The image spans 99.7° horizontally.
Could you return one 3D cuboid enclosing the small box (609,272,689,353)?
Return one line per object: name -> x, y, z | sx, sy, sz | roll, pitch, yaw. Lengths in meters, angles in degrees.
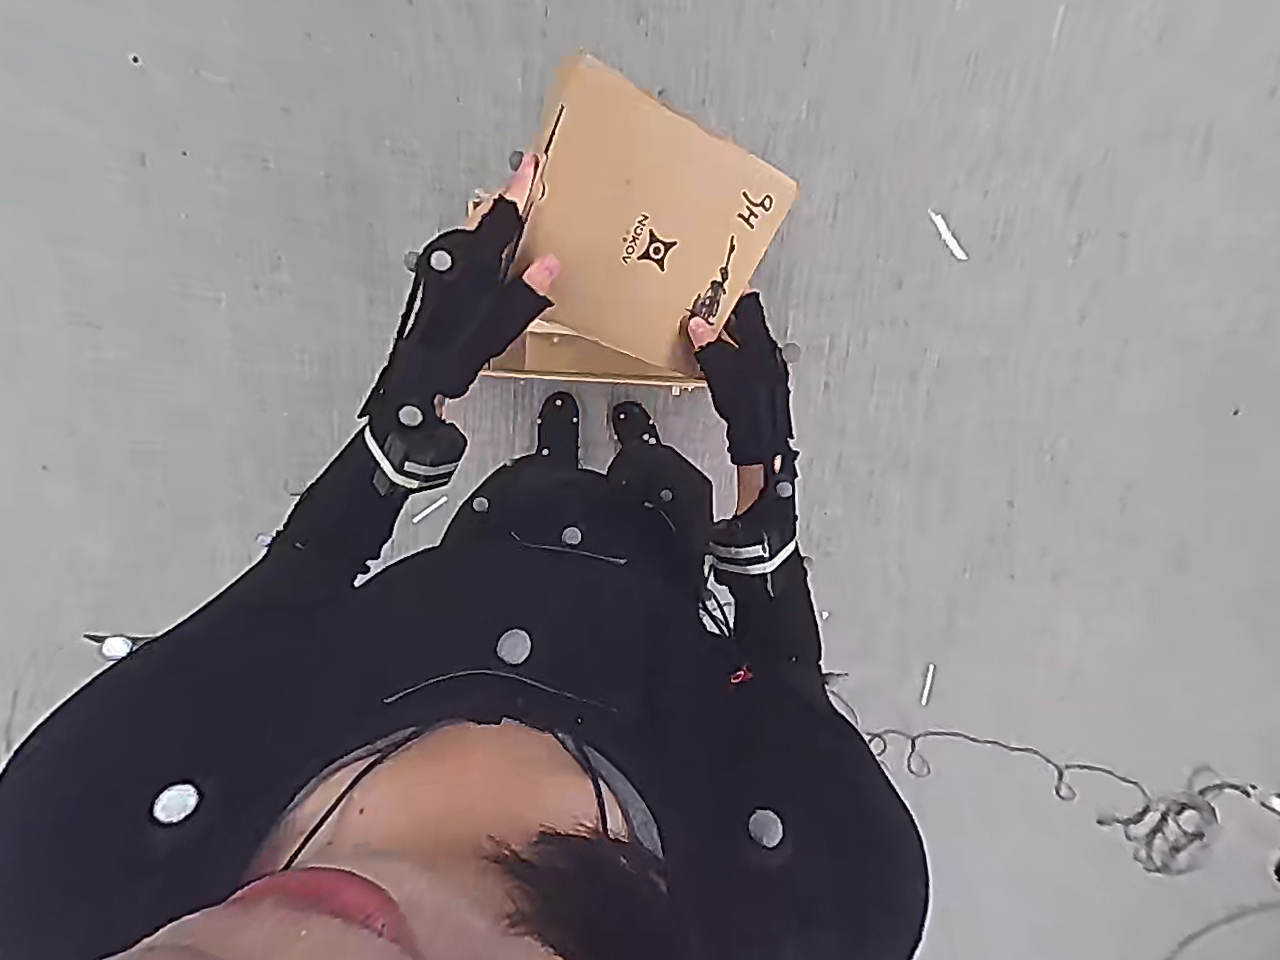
small box -> 0.017, -0.400, 1.314 | 0.179, 0.176, 0.168 | 3, 101, -2
